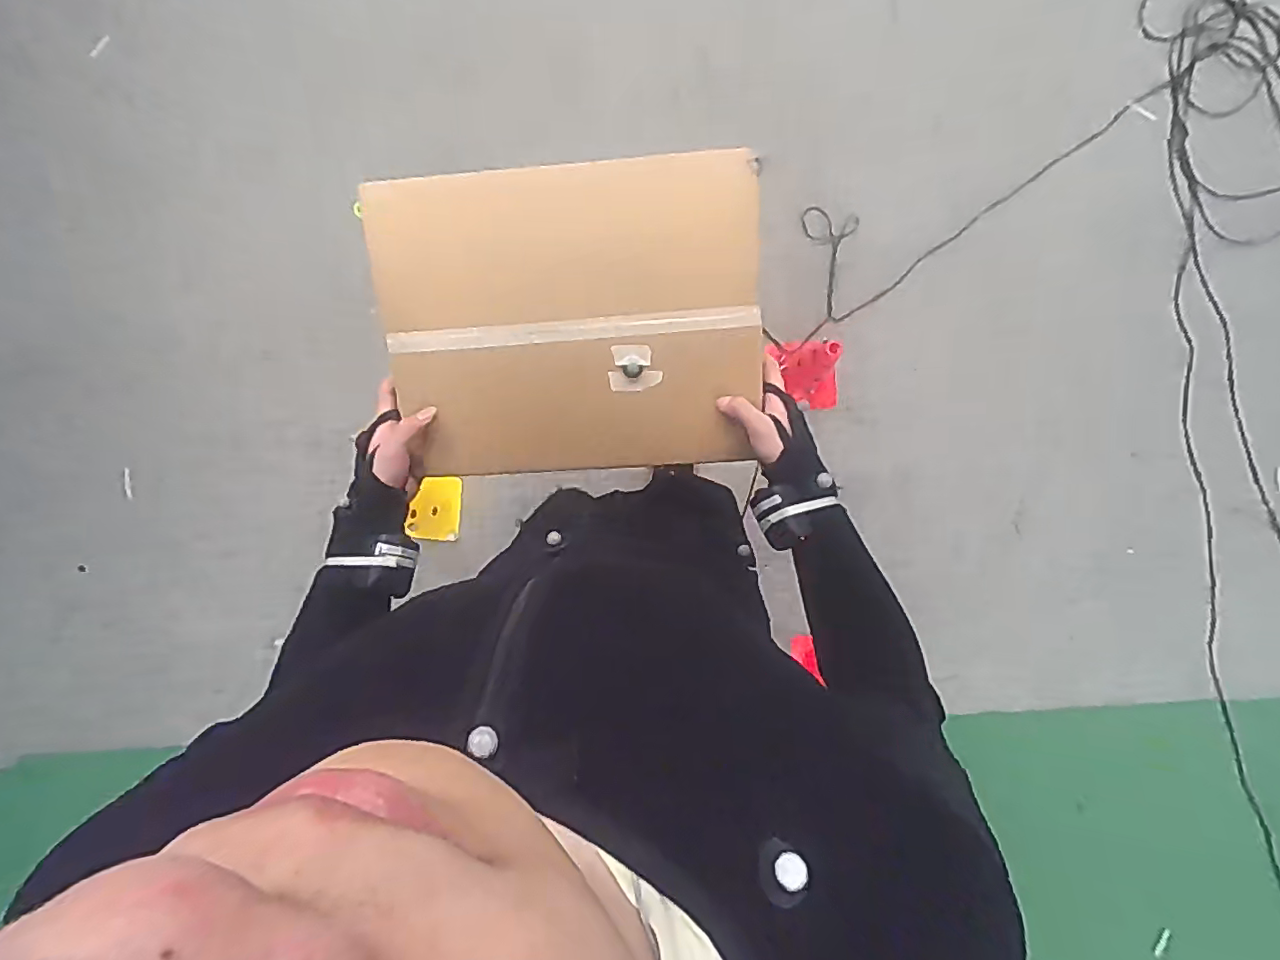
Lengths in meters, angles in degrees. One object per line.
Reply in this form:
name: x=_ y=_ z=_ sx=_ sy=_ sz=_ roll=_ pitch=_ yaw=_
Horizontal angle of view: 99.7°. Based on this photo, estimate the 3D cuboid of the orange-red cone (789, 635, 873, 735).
orange-red cone: x=0.537 y=0.566 z=1.431 sx=0.199 sy=0.360 sz=0.198 roll=3 pitch=92 yaw=3

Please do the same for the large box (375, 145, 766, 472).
large box: x=-0.062 y=-0.212 z=0.730 sx=0.408 sy=0.320 sz=0.320 roll=-4 pitch=107 yaw=4
